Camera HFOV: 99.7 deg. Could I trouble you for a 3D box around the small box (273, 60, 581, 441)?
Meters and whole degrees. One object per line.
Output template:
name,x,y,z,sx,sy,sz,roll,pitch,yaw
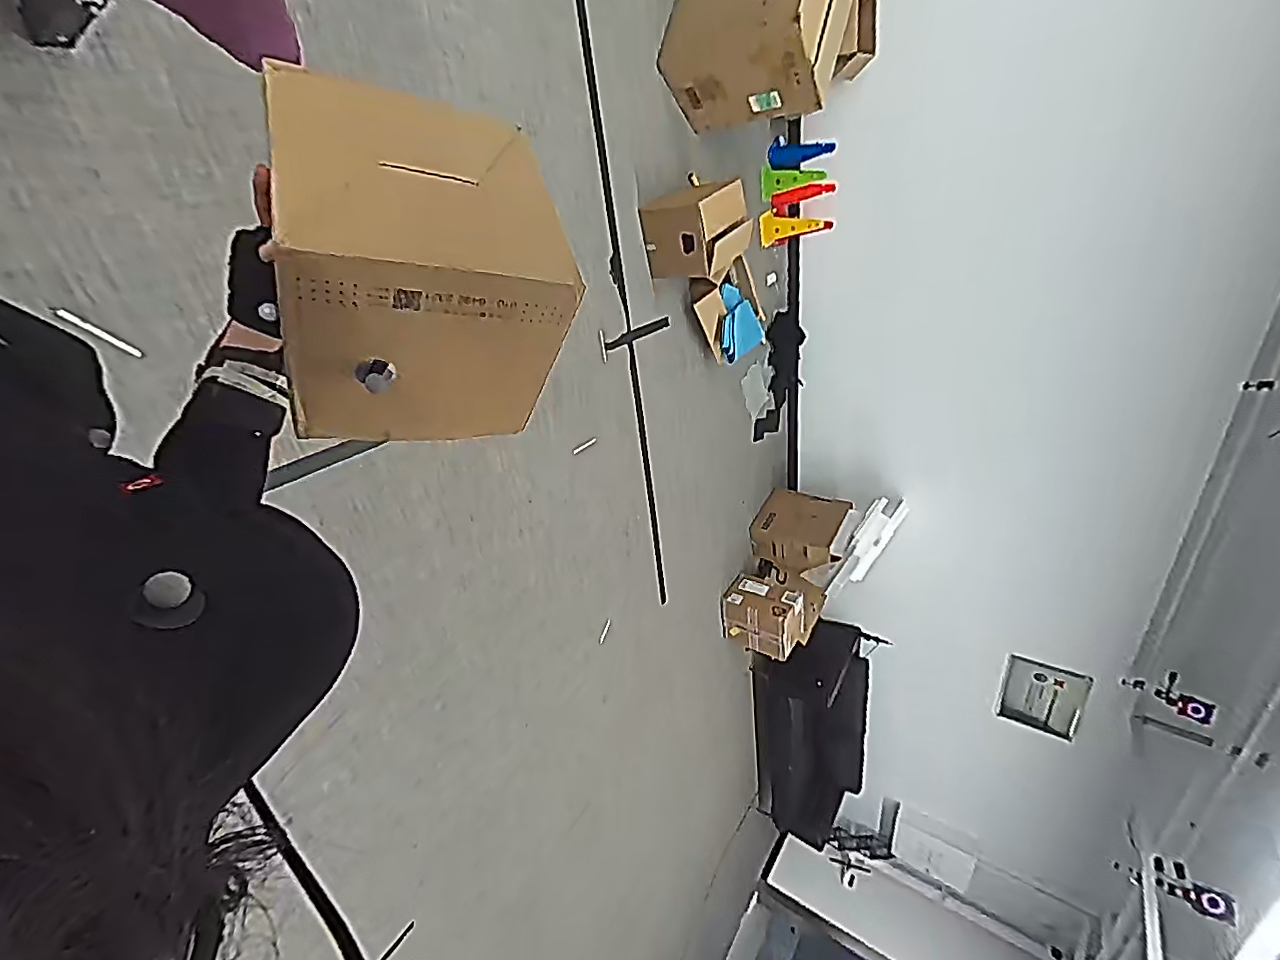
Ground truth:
small box,-0.158,-0.147,0.387,0.168,0.176,0.179,-3,61,-33
